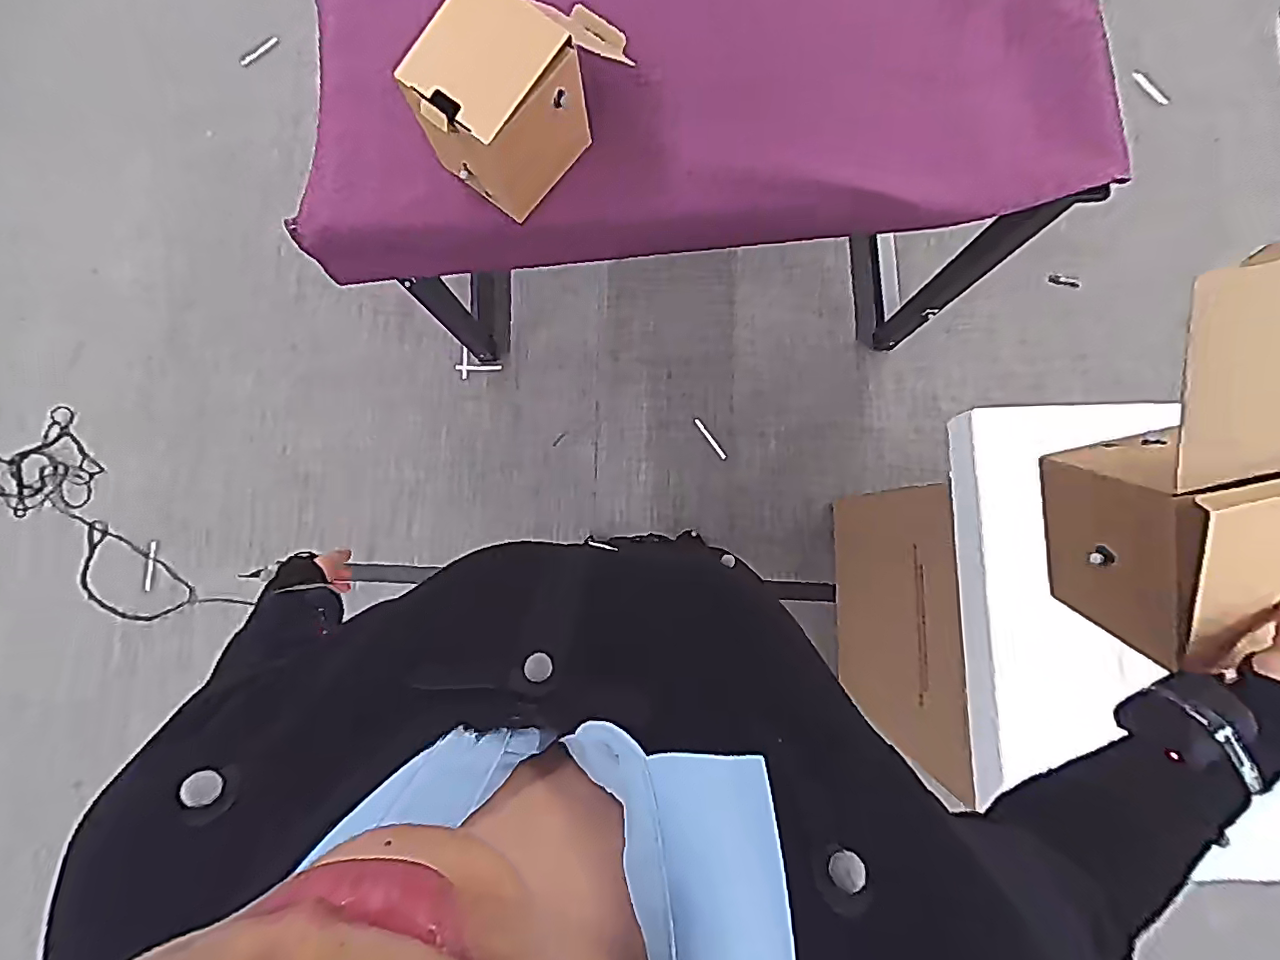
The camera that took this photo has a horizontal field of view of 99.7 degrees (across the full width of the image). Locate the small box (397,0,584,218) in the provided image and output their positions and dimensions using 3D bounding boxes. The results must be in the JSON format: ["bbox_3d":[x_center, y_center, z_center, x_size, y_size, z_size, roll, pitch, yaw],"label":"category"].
[{"bbox_3d":[-0.195,-0.524,0.768,0.168,0.176,0.179,39,86,6],"label":"small box"}]
